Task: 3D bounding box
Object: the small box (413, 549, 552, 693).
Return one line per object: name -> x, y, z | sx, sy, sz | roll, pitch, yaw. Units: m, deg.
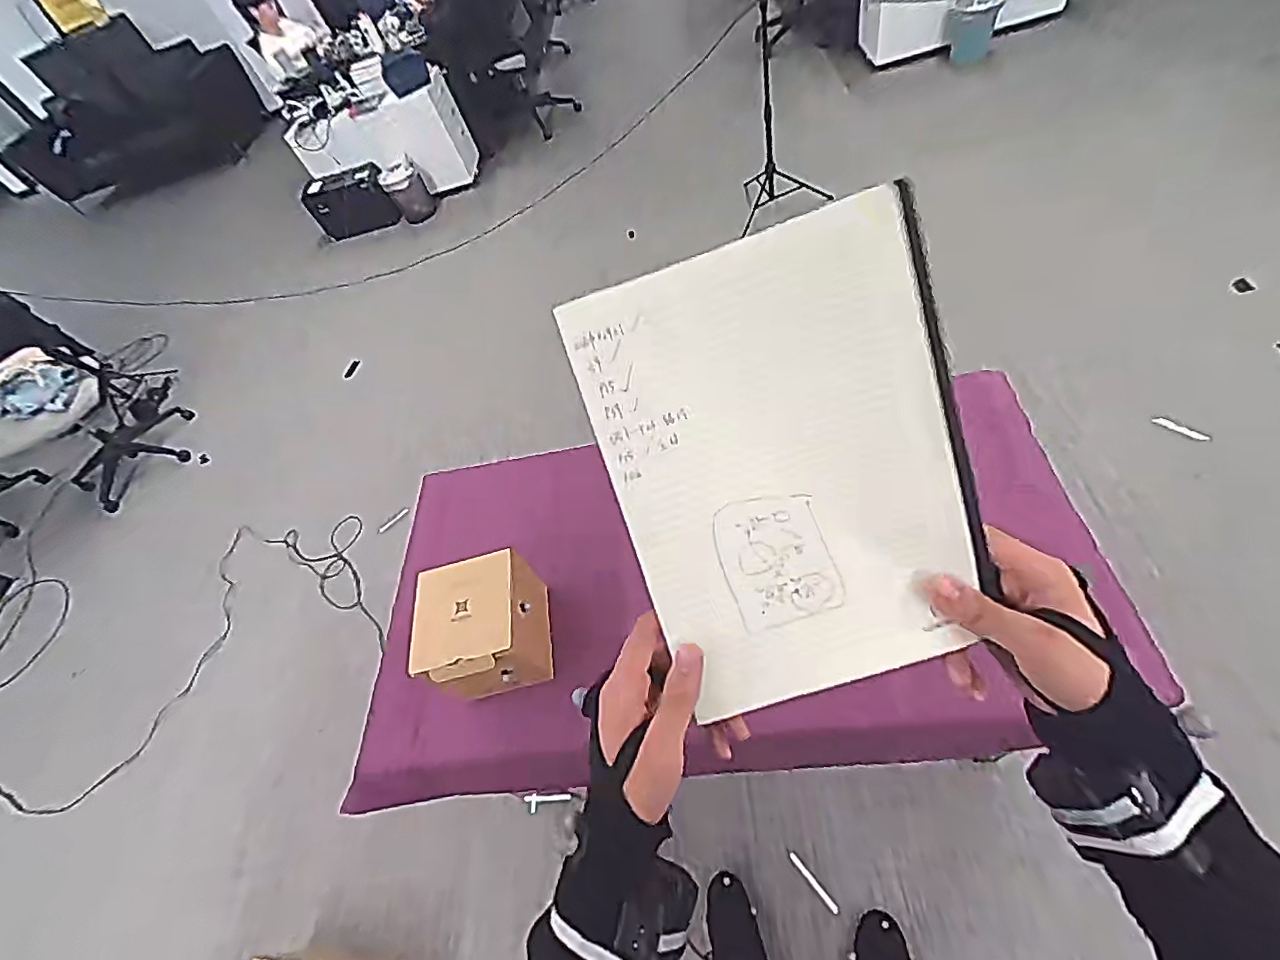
small box -> -0.254, 0.245, 0.909 | 0.168, 0.176, 0.179 | -15, 53, 6
